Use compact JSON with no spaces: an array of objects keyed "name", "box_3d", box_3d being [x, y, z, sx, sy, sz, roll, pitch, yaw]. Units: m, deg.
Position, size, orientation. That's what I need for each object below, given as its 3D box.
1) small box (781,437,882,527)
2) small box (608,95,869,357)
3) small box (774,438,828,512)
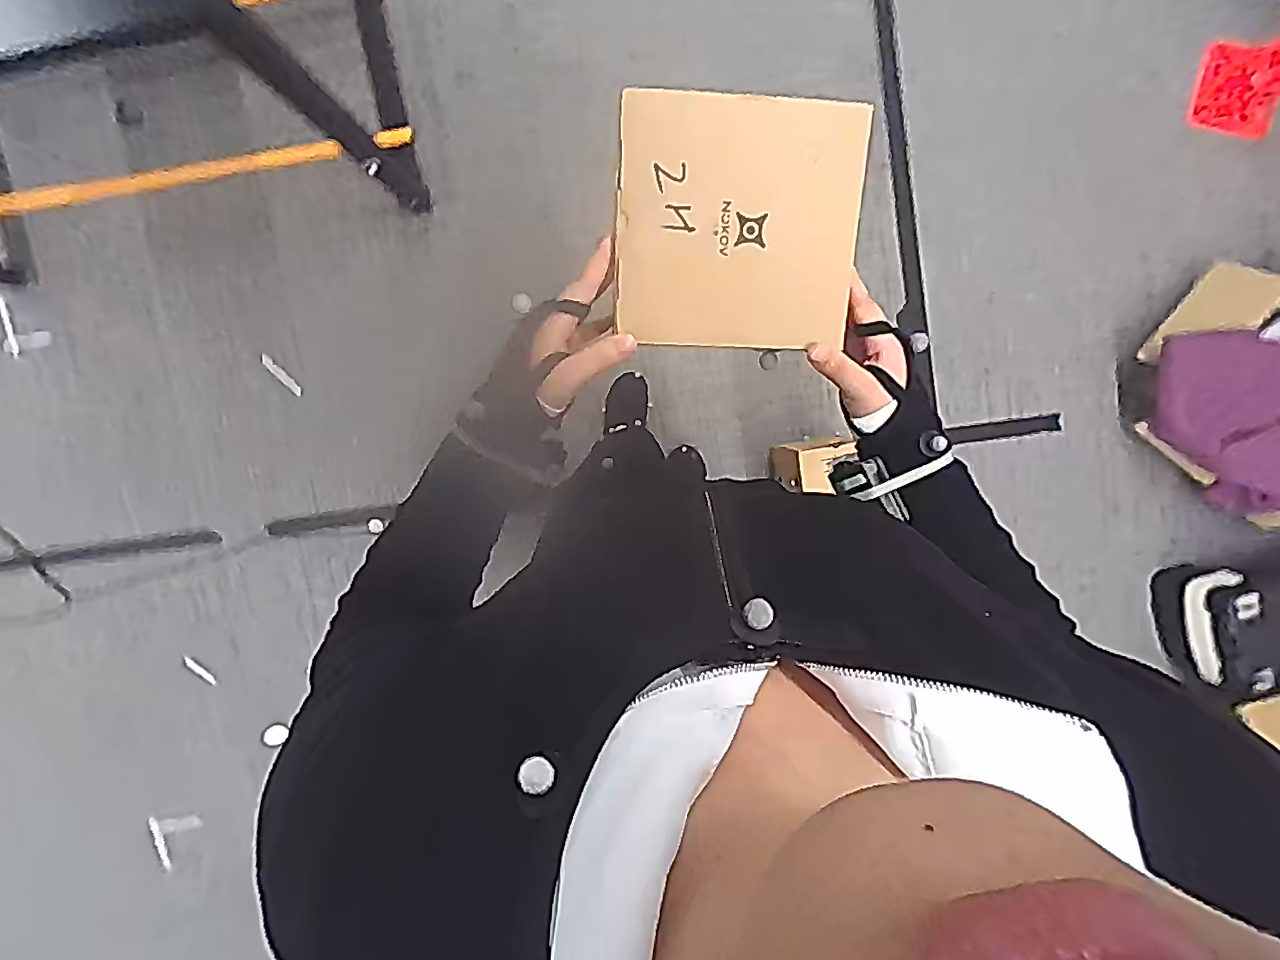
[{"name":"small box","box_3d":[0.430,-0.003,1.239,0.168,0.176,0.179,-9,97,2]},{"name":"small box","box_3d":[0.063,-0.196,0.459,0.179,0.176,0.168,0,106,-3]},{"name":"small box","box_3d":[0.451,-0.016,1.404,0.179,0.176,0.168,-7,97,3]}]
